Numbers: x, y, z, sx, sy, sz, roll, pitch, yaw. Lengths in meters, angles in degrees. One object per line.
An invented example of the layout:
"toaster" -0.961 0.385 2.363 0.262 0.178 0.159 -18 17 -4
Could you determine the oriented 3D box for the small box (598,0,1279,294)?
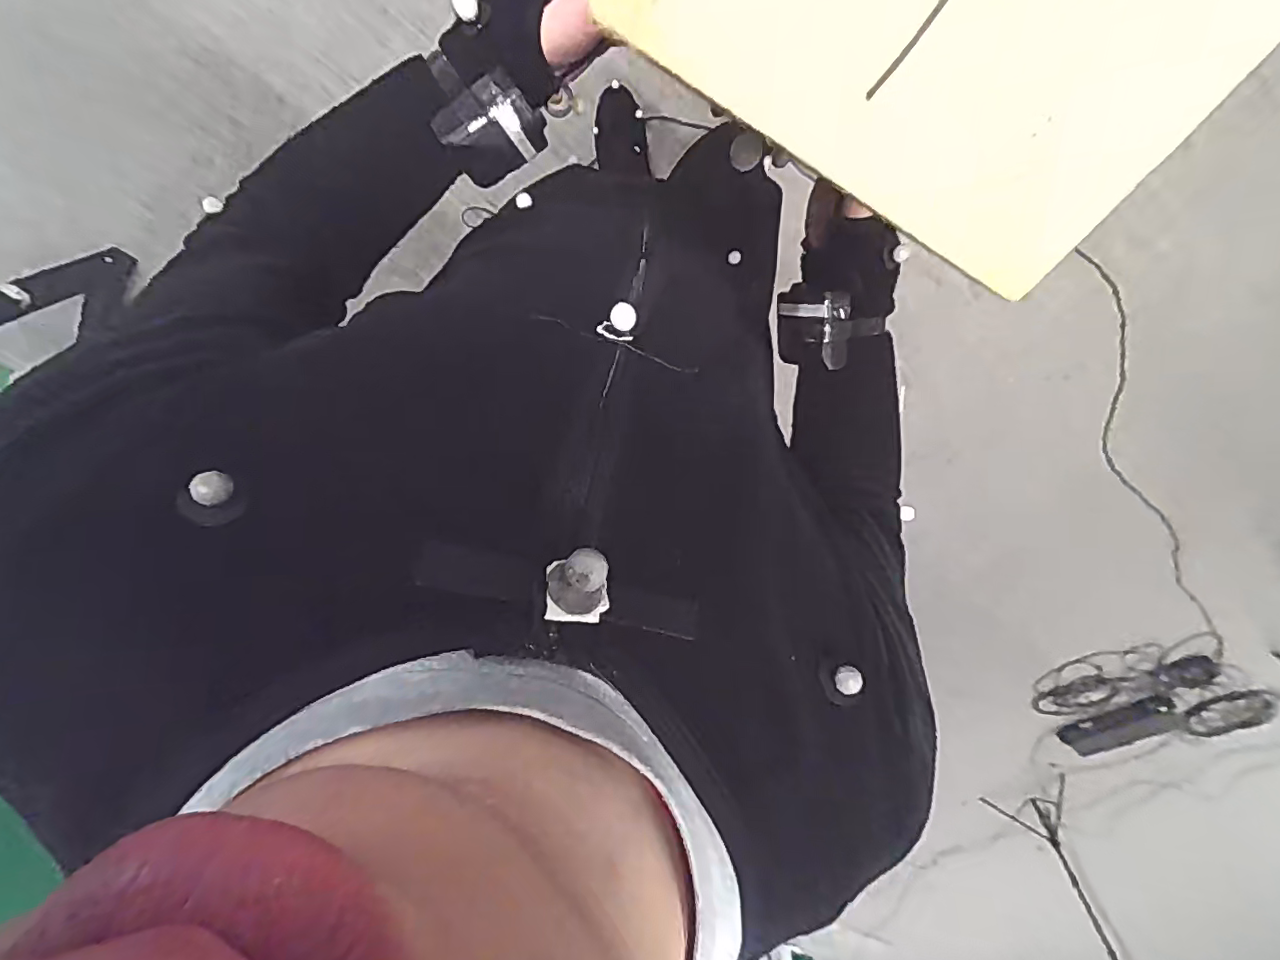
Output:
"small box" 0.099 -0.201 0.175 0.168 0.176 0.179 24 126 -14
